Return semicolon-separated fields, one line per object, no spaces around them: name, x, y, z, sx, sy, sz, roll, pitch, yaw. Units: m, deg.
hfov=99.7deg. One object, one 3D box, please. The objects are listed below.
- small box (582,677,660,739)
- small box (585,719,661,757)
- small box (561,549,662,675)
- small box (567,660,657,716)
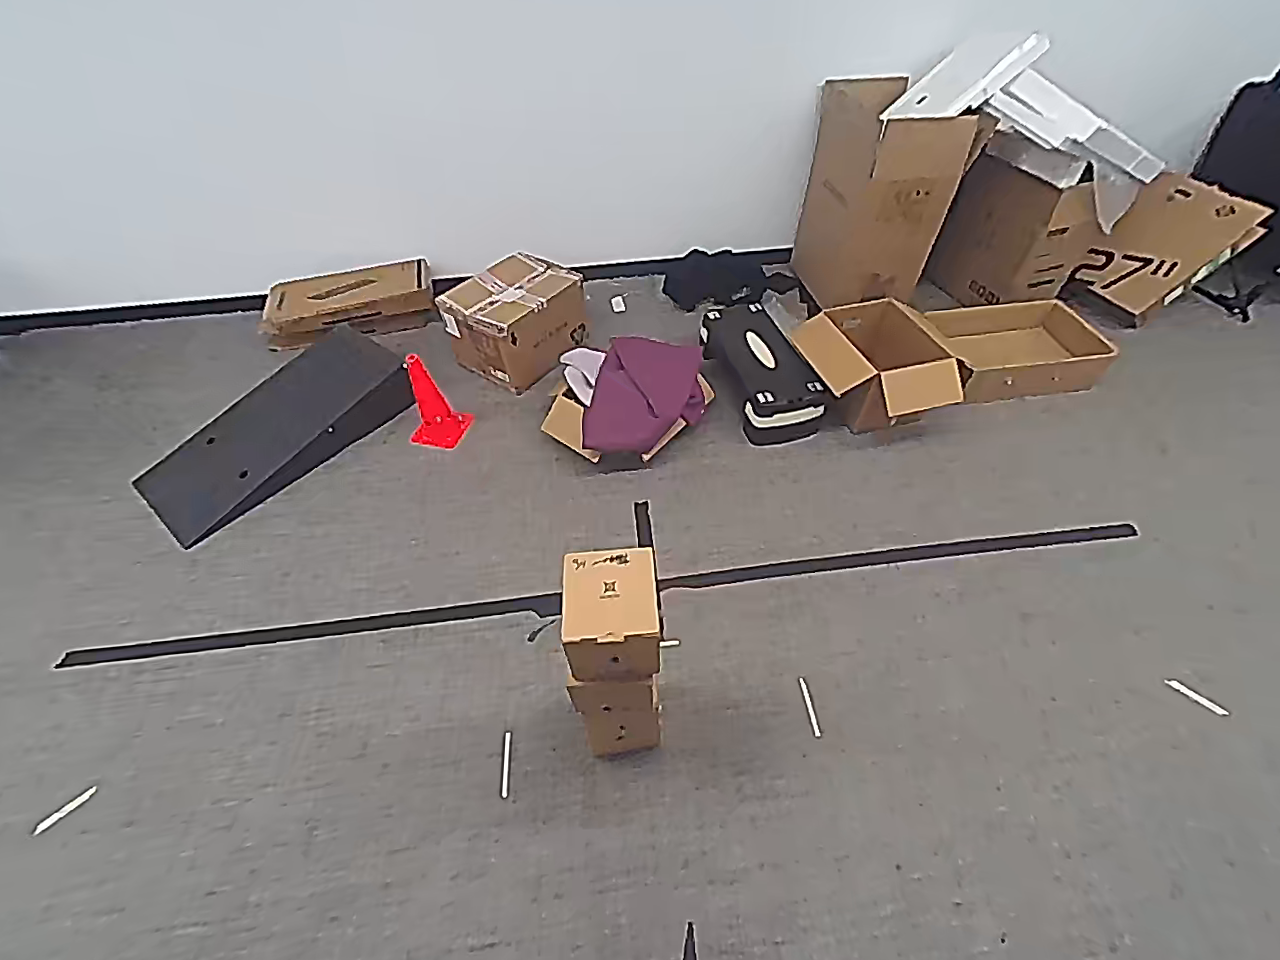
small box;-0.045;0.470;1.239;0.168;0.176;0.179;-6;49;-2
small box;-0.045;0.579;1.362;0.179;0.176;0.168;-8;49;-5
small box;-0.048;0.249;0.999;0.168;0.176;0.179;-4;49;0
small box;-0.051;0.369;1.112;0.168;0.176;0.179;-2;50;2
